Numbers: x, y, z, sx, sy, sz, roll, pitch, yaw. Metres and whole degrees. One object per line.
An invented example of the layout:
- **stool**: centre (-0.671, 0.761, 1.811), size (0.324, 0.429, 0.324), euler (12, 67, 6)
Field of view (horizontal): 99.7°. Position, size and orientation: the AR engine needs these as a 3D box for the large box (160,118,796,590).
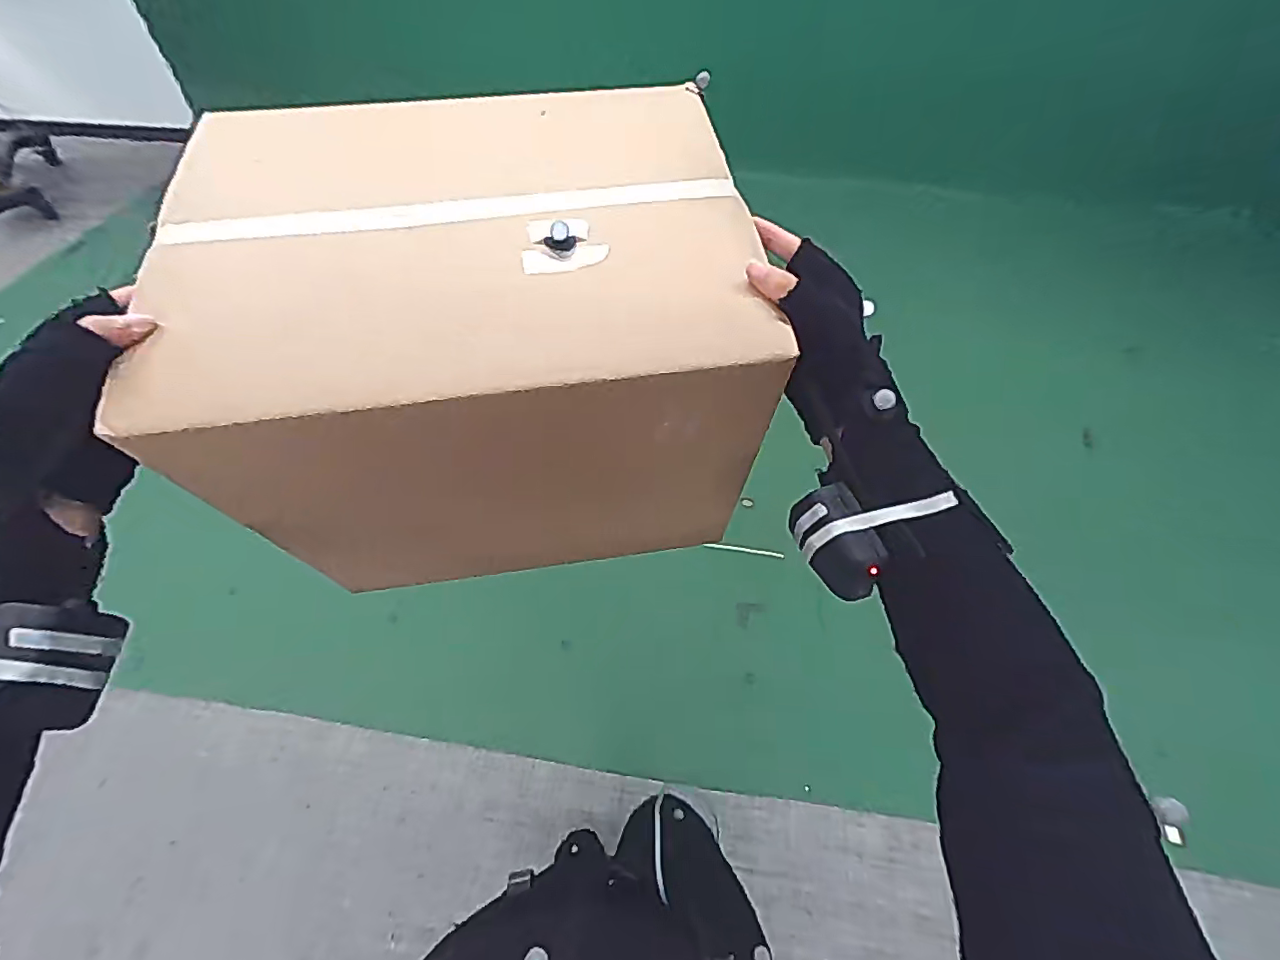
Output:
- **large box**: centre (-0.120, -0.108, 0.538), size (0.408, 0.320, 0.320), euler (-7, 63, -6)
